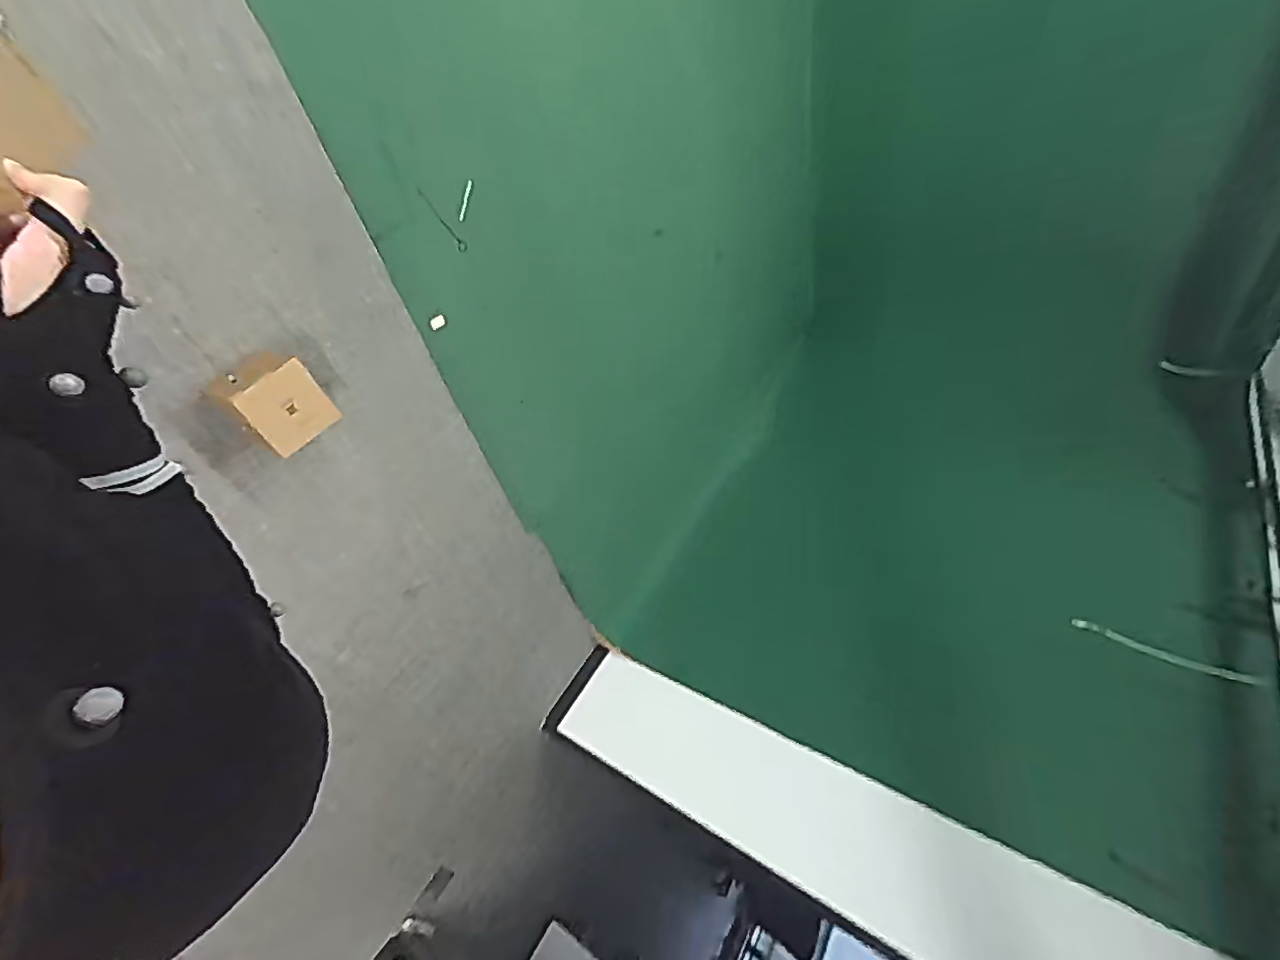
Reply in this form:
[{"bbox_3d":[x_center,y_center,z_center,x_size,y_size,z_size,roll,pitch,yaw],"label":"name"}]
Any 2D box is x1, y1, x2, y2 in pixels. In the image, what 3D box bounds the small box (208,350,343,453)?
[{"bbox_3d":[-0.860,-0.193,1.276,0.168,0.176,0.179,-50,141,-30],"label":"small box"}]
